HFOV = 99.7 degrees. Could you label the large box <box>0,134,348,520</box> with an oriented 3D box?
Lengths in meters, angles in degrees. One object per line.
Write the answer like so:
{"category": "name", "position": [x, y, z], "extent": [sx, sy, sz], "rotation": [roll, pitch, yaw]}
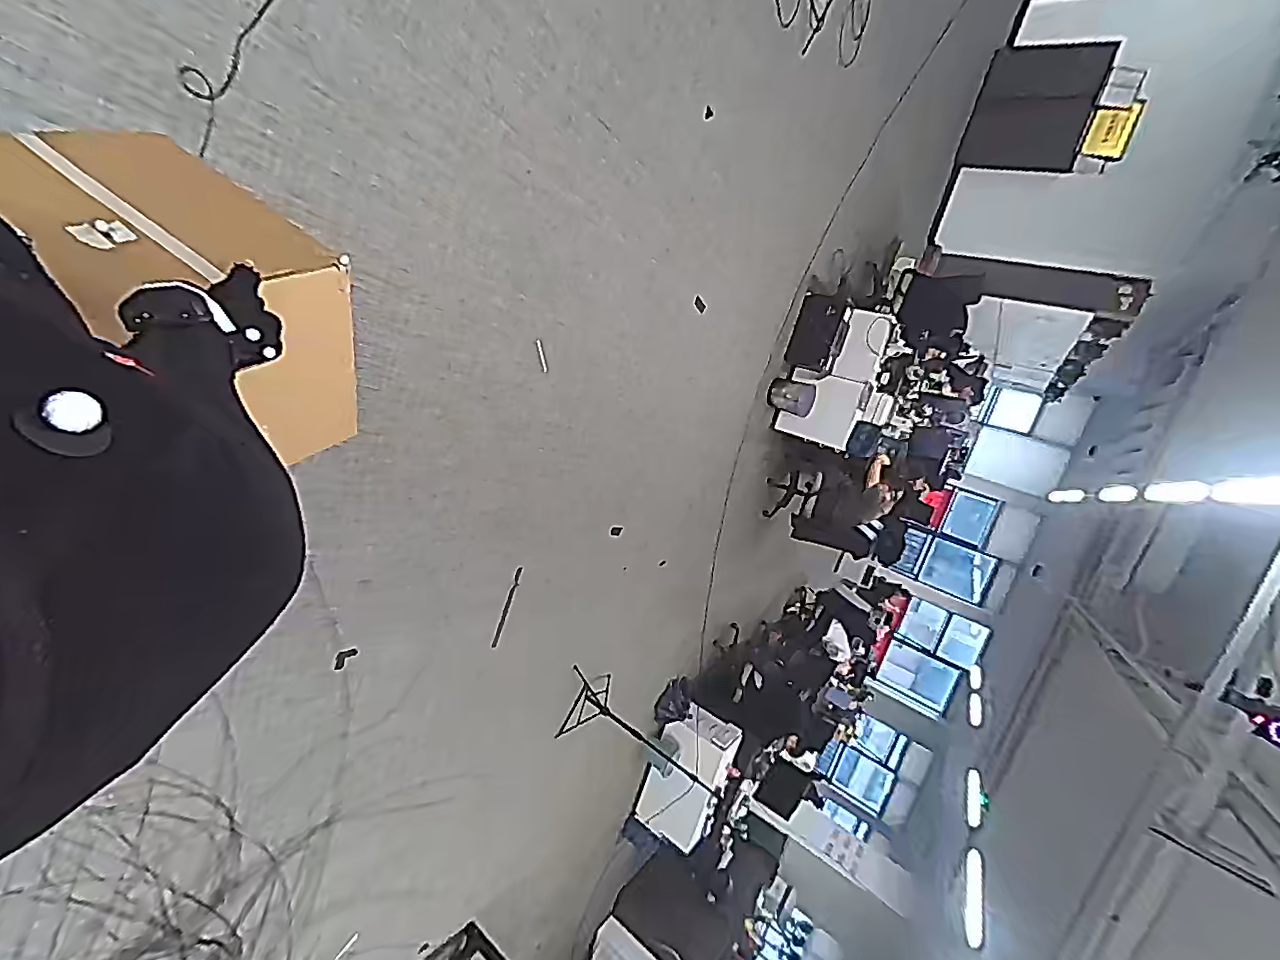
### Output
{"category": "large box", "position": [-0.681, -0.223, 0.755], "extent": [0.320, 0.408, 0.320], "rotation": [-44, 166, -45]}
